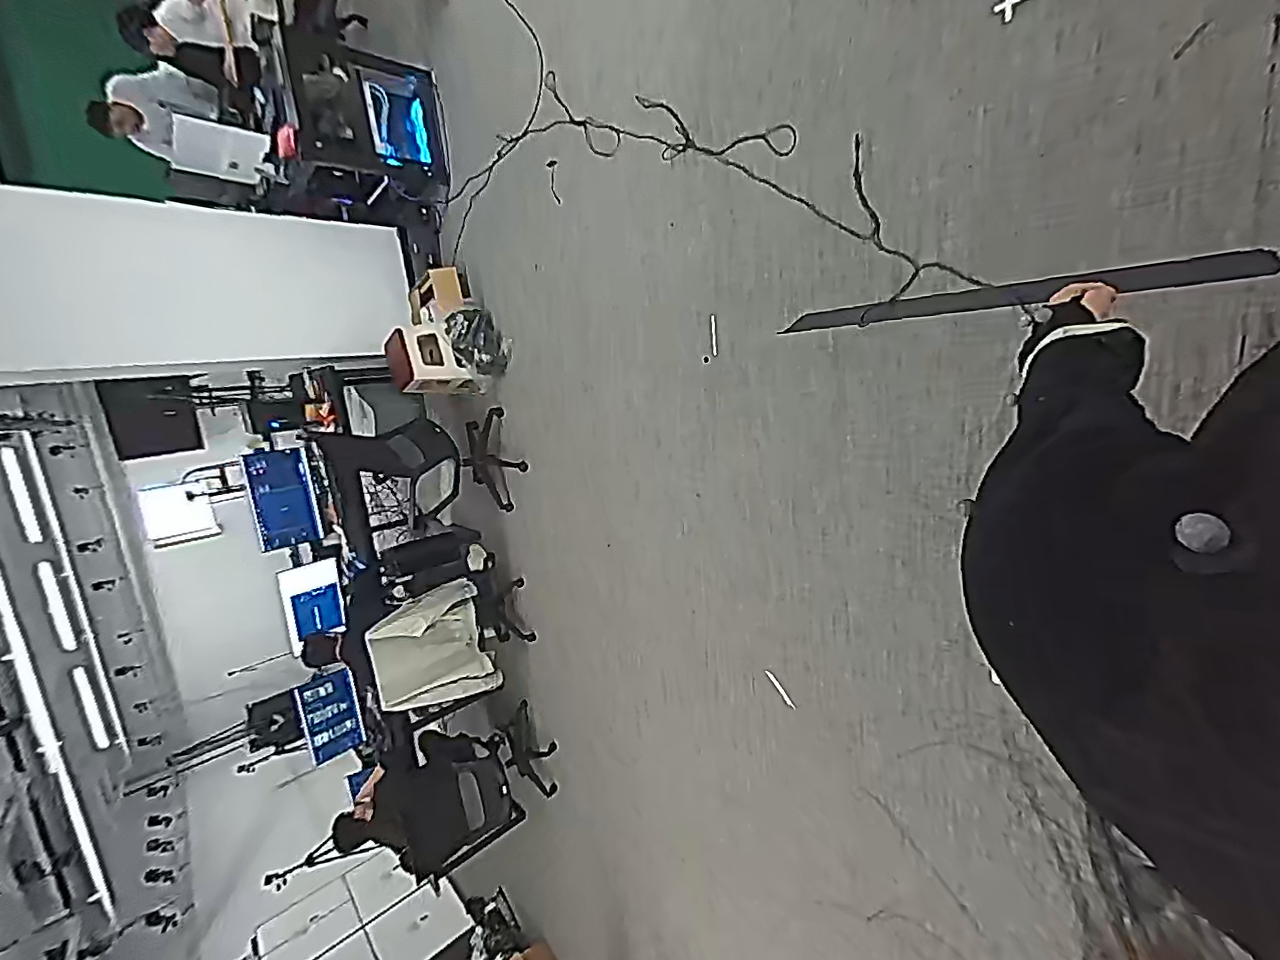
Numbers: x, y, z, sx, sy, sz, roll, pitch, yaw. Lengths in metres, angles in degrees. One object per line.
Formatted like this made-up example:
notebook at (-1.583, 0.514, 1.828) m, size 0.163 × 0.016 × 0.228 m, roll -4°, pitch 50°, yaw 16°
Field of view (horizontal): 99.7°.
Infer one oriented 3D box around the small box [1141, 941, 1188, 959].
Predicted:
small box at (1.241, 1.217, 1.223) m, size 0.168 × 0.176 × 0.179 m, roll 4°, pitch 106°, yaw 49°
